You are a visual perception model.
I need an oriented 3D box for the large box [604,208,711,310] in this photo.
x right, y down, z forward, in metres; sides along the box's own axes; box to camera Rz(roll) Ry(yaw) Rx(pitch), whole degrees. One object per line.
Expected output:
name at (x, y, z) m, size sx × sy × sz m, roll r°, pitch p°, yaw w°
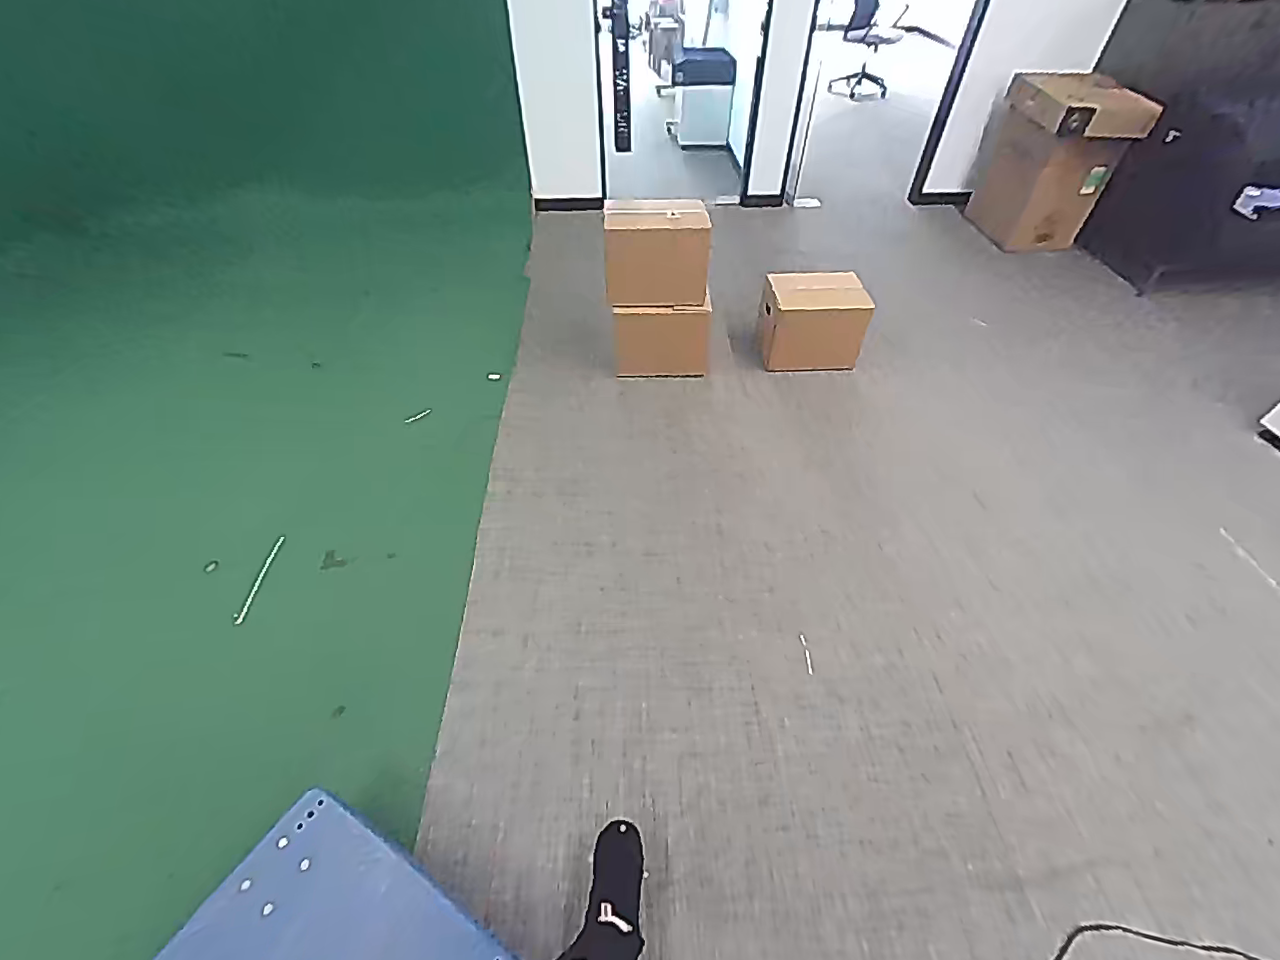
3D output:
large box at (0.058, -0.902, 2.204) m, size 0.408 × 0.320 × 0.320 m, roll 0°, pitch 43°, yaw -2°
